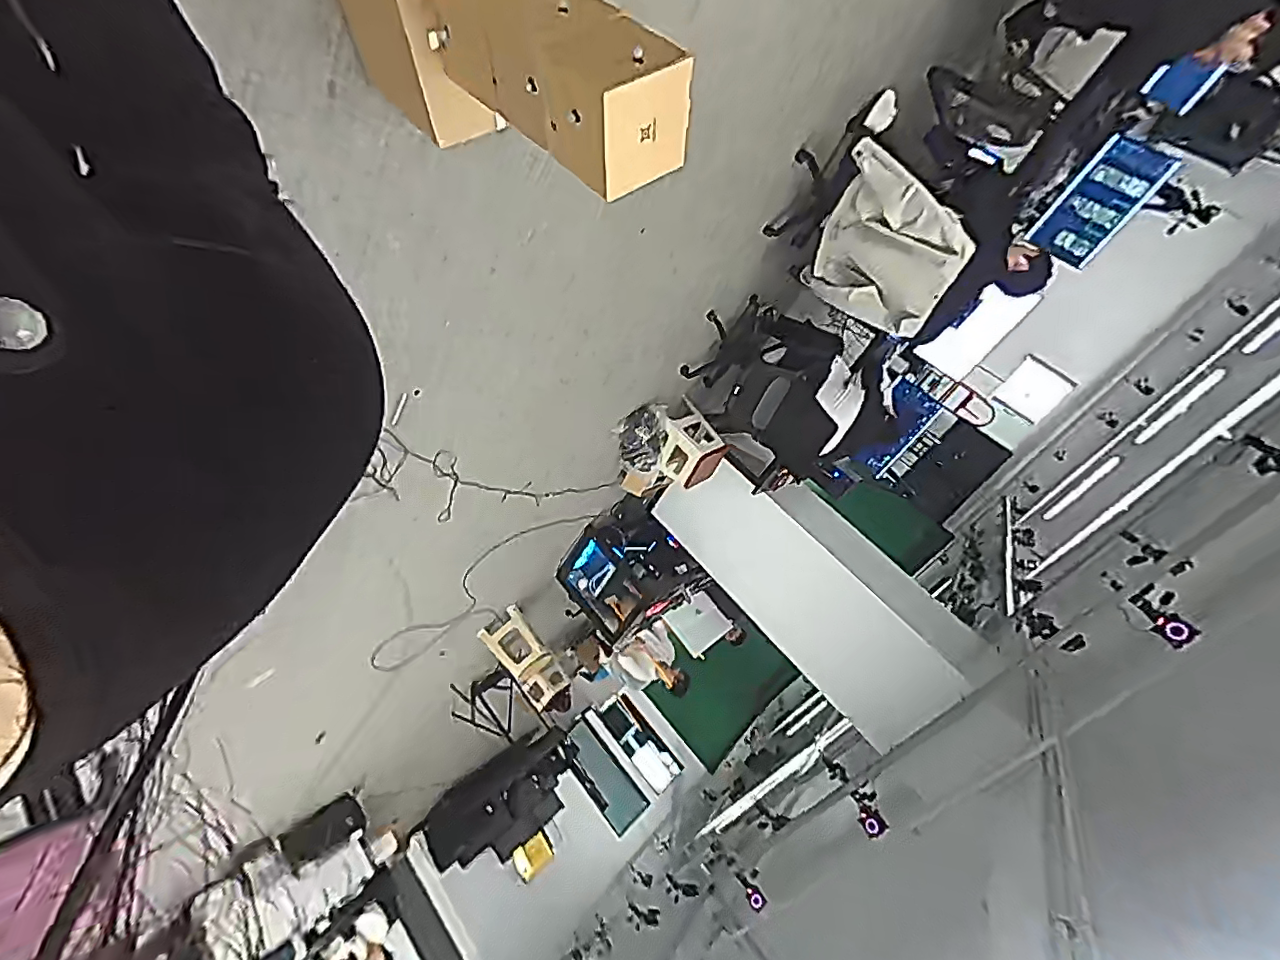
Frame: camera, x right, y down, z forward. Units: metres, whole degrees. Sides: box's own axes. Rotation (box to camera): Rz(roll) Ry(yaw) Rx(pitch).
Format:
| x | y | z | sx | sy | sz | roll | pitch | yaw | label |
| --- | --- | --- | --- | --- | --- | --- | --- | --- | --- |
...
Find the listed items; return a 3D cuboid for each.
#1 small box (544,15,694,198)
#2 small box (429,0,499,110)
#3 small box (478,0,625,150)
| x | y | z | sx | sy | sz | roll | pitch | yaw | label |
| --- | --- | --- | --- | --- | --- | --- | --- | --- | --- |
| -0.039 | -0.599 | 0.867 | 0.179 | 0.176 | 0.168 | -37 | 158 | -19 | small box |
| -0.254 | -0.819 | 0.978 | 0.179 | 0.176 | 0.168 | -36 | 158 | -19 | small box |
| -0.144 | -0.711 | 0.921 | 0.179 | 0.176 | 0.168 | -37 | 158 | -20 | small box |
